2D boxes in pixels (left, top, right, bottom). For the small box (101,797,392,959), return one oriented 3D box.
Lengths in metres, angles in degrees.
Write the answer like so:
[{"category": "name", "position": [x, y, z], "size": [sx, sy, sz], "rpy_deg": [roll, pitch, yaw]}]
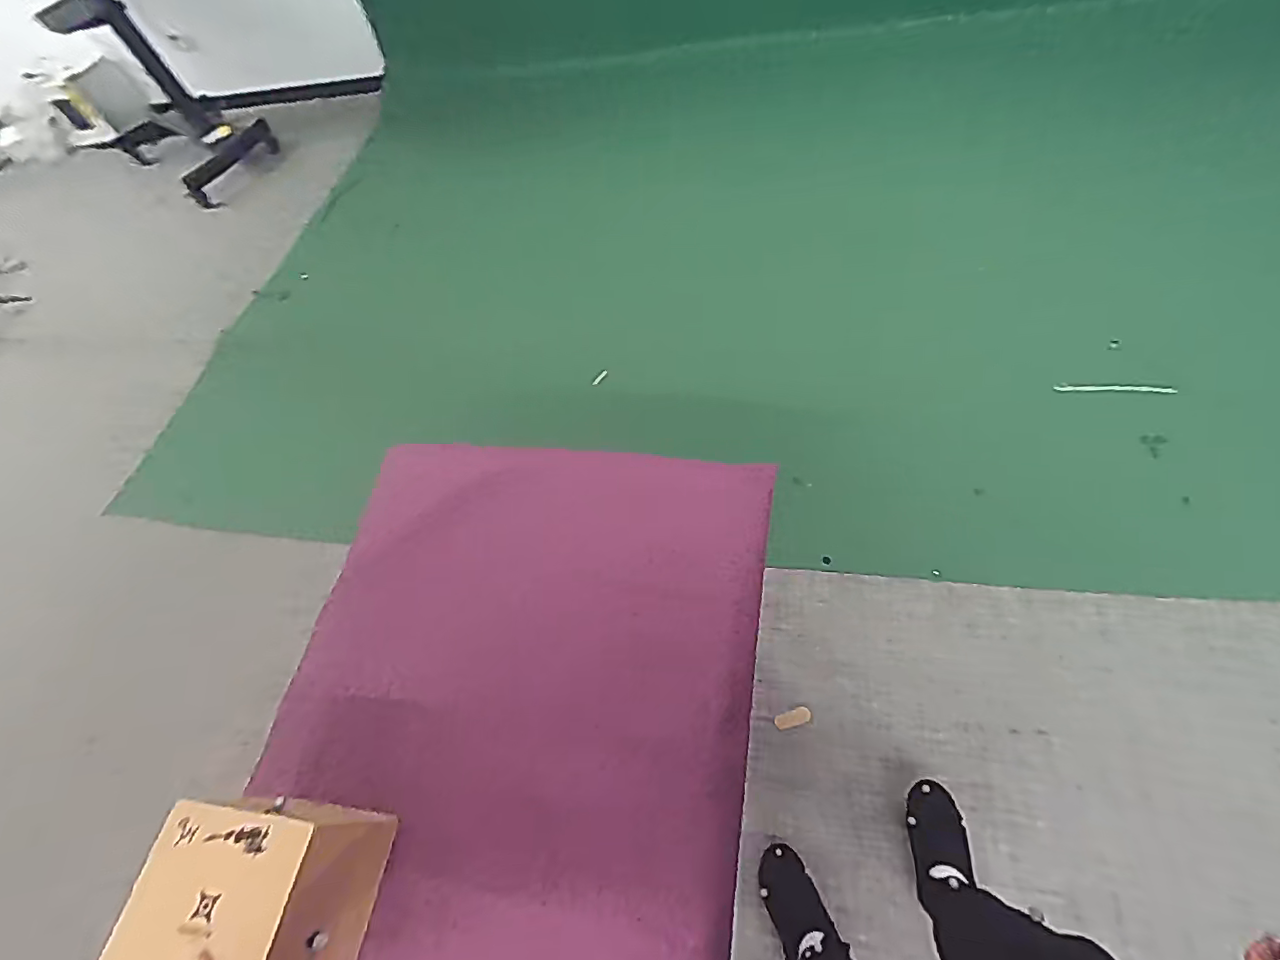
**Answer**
[{"category": "small box", "position": [-0.395, 0.447, 0.568], "size": [0.168, 0.176, 0.179], "rpy_deg": [4, 61, 10]}]
